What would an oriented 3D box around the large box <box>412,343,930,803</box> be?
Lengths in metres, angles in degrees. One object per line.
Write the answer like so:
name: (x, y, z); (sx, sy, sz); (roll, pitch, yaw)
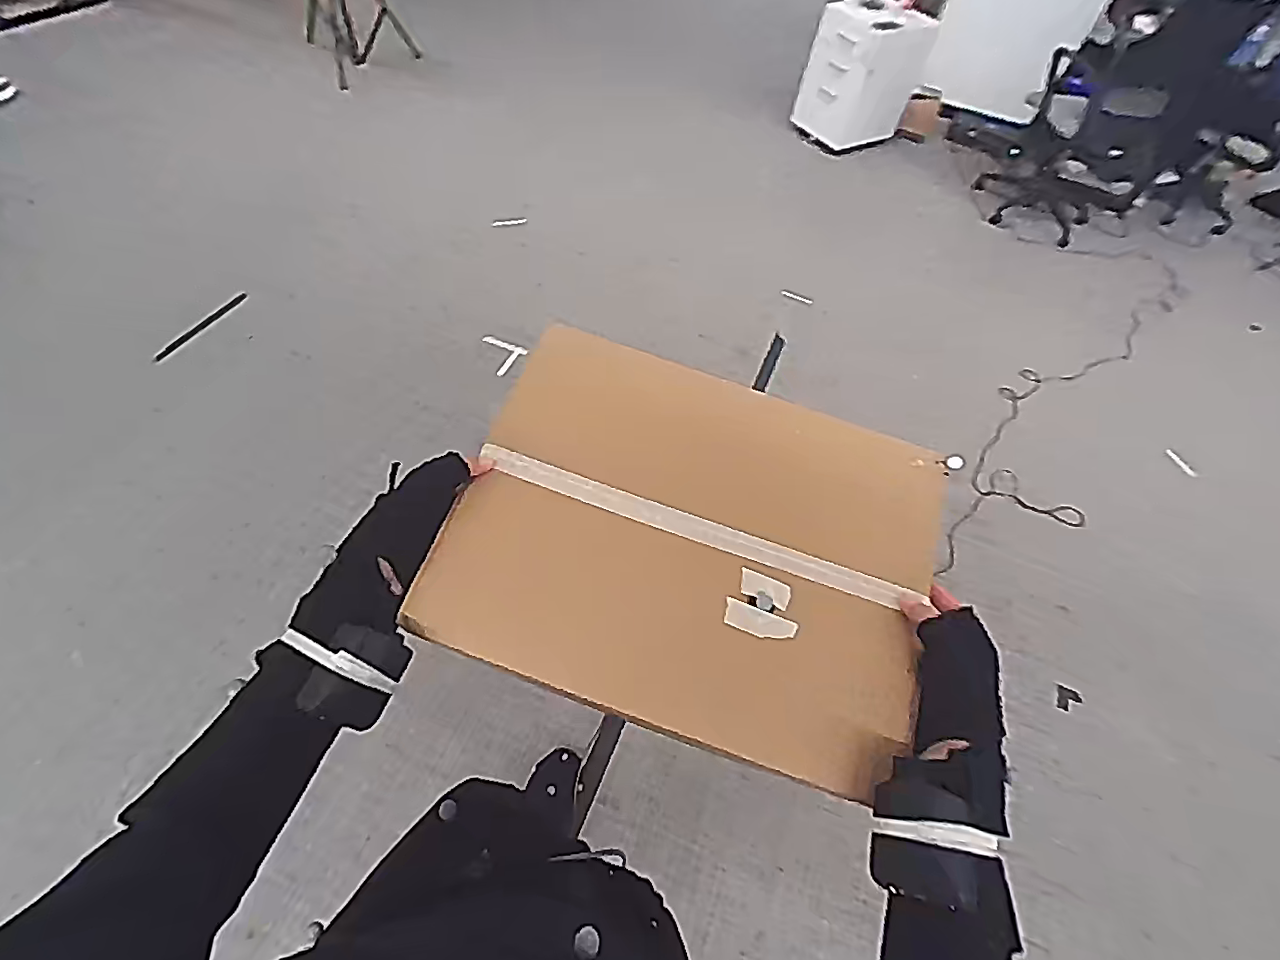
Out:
large box: (0.035, 0.111, 0.612); (0.408, 0.320, 0.320); (20, 67, 2)
